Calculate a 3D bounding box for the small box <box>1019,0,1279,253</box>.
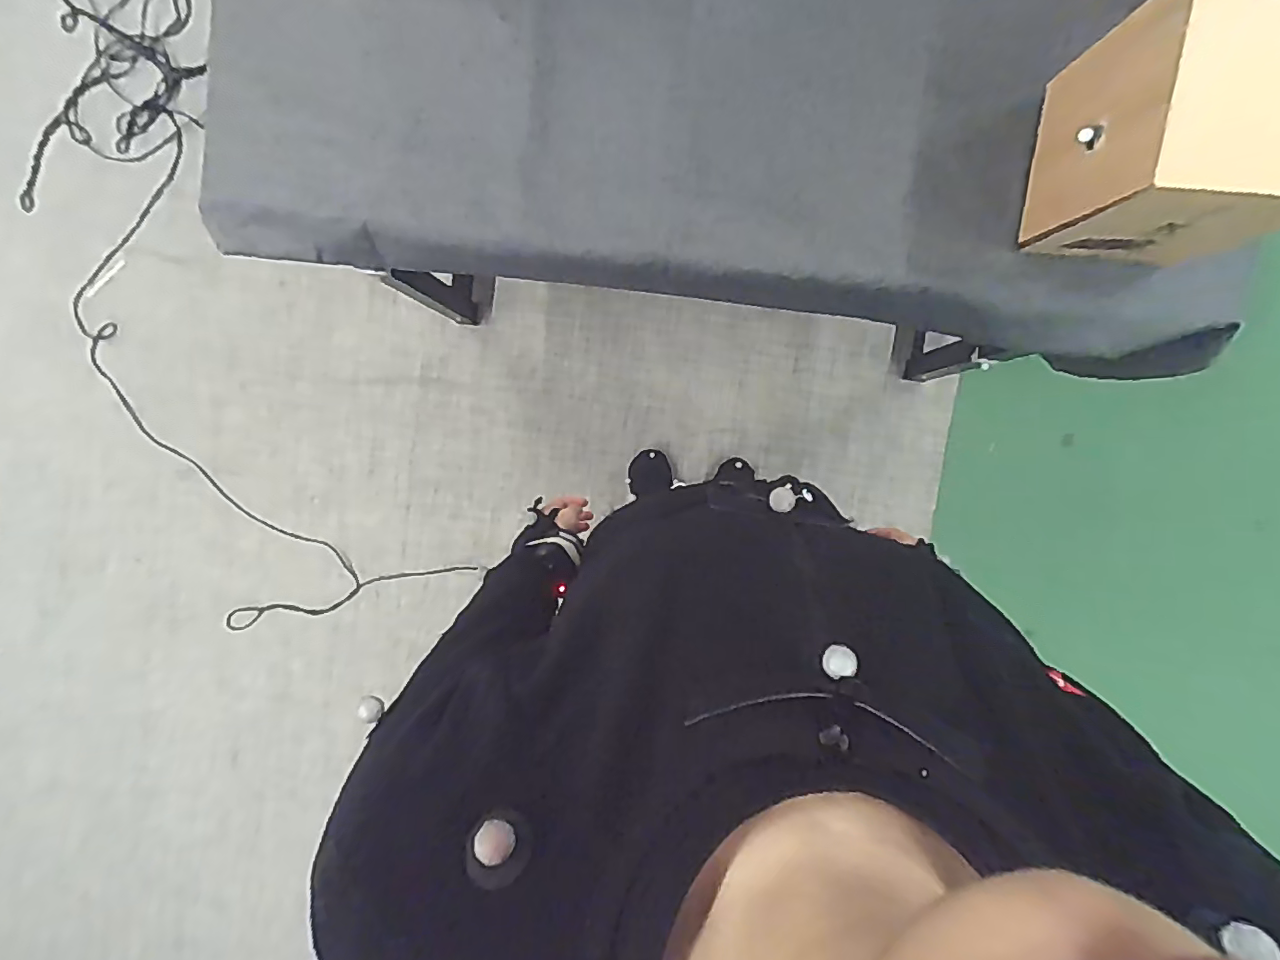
[{"bbox_3d":[0.499,-0.324,0.496,0.168,0.179,0.176,5,98,3],"label":"small box"}]
